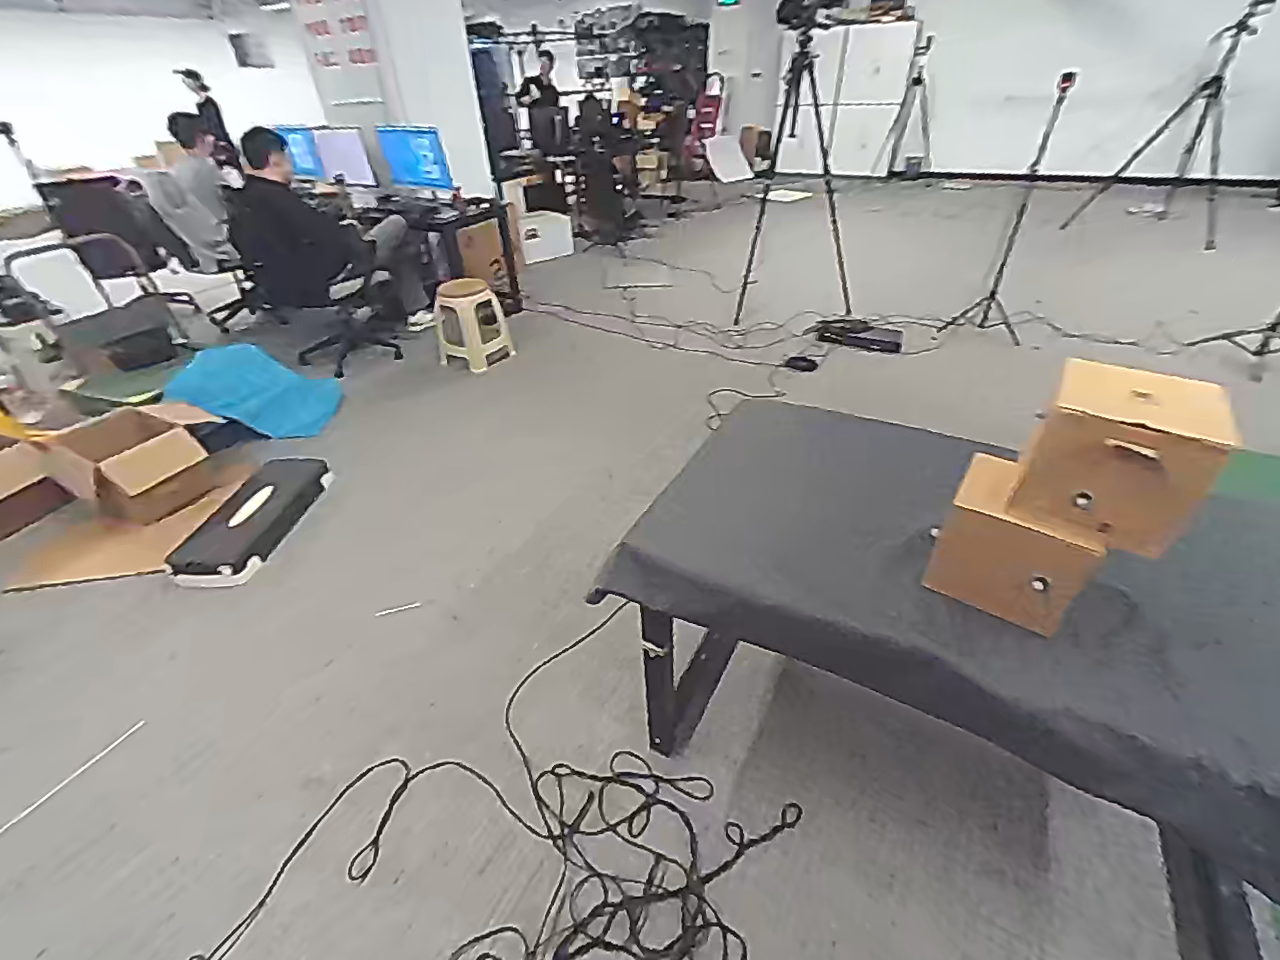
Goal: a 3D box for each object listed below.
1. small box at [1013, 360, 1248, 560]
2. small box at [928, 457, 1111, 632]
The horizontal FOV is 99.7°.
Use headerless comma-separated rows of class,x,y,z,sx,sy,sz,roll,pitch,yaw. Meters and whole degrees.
small box,0.614,-0.031,0.699,0.168,0.176,0.179,22,43,29
small box,0.560,0.096,0.803,0.179,0.176,0.168,22,42,31
